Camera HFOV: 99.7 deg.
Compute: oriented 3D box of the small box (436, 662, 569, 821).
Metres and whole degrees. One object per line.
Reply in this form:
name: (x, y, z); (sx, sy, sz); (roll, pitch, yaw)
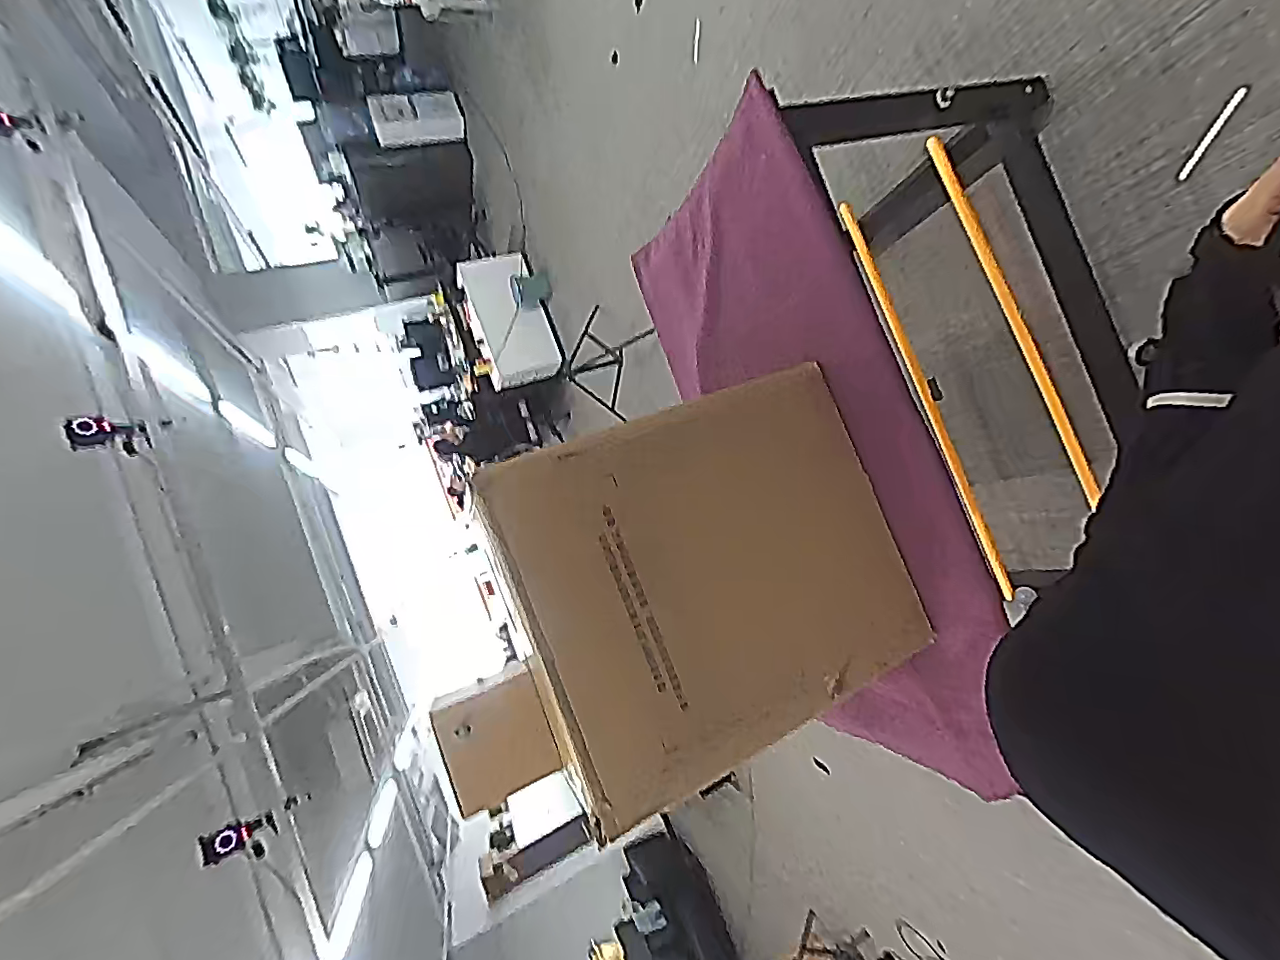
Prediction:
small box: (-0.239, 0.436, 0.939); (0.179, 0.176, 0.168); (69, 161, 5)
